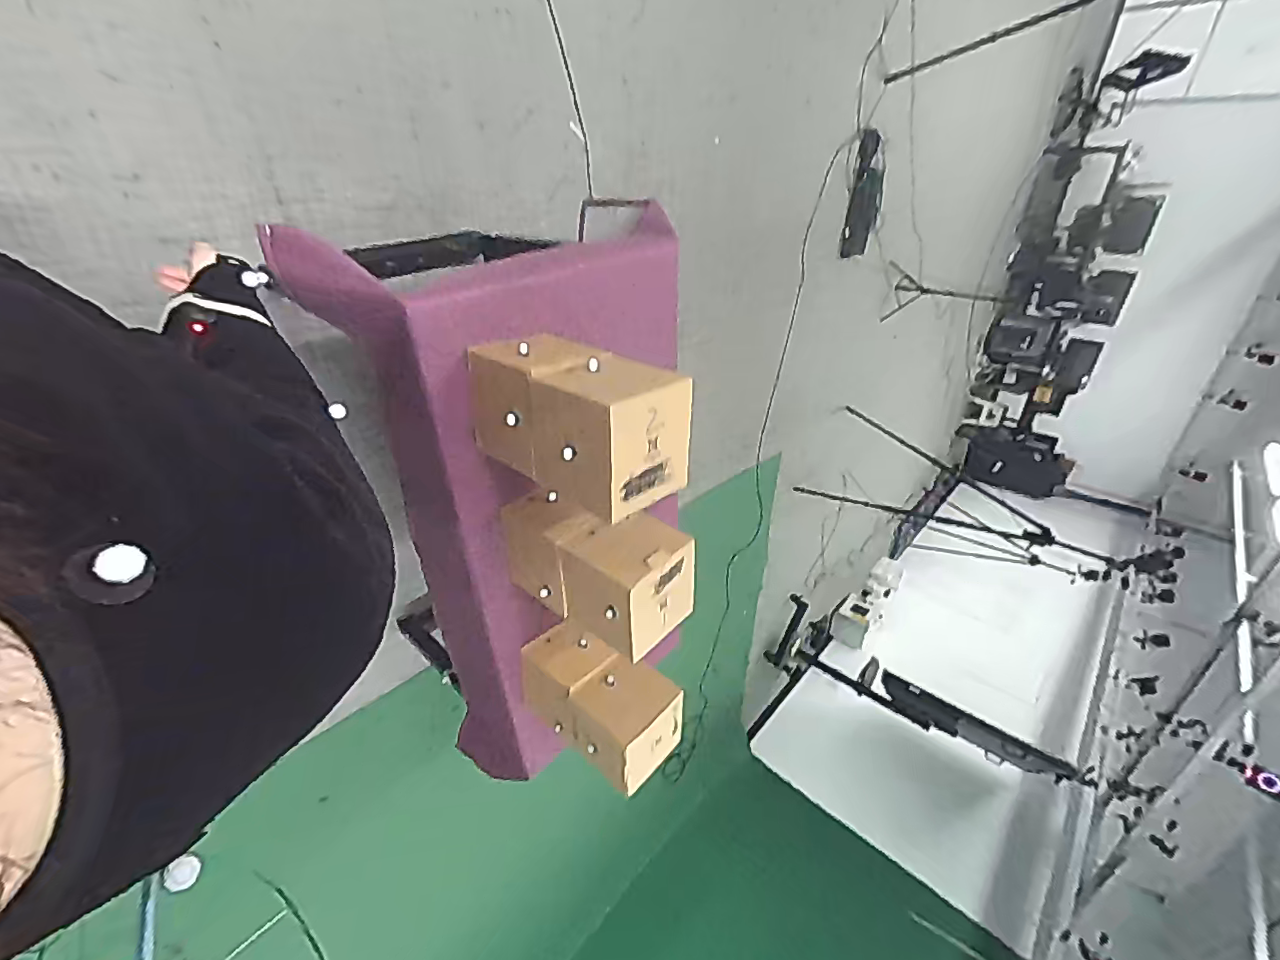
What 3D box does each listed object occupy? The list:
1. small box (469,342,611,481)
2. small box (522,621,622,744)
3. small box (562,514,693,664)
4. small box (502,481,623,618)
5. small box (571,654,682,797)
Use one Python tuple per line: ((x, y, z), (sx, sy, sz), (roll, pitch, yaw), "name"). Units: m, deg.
((-0.166, -0.125, 0.894), (0.168, 0.176, 0.179), (-24, 128, -42), "small box")
((-0.154, 0.448, 1.233), (0.168, 0.176, 0.179), (-25, 128, -42), "small box")
((-0.023, 0.180, 0.963), (0.168, 0.176, 0.179), (-31, 133, -38), "small box")
((-0.149, 0.127, 1.056), (0.168, 0.176, 0.179), (-29, 131, -40), "small box")
((-0.033, 0.505, 1.138), (0.179, 0.176, 0.168), (-28, 130, -39), "small box")
